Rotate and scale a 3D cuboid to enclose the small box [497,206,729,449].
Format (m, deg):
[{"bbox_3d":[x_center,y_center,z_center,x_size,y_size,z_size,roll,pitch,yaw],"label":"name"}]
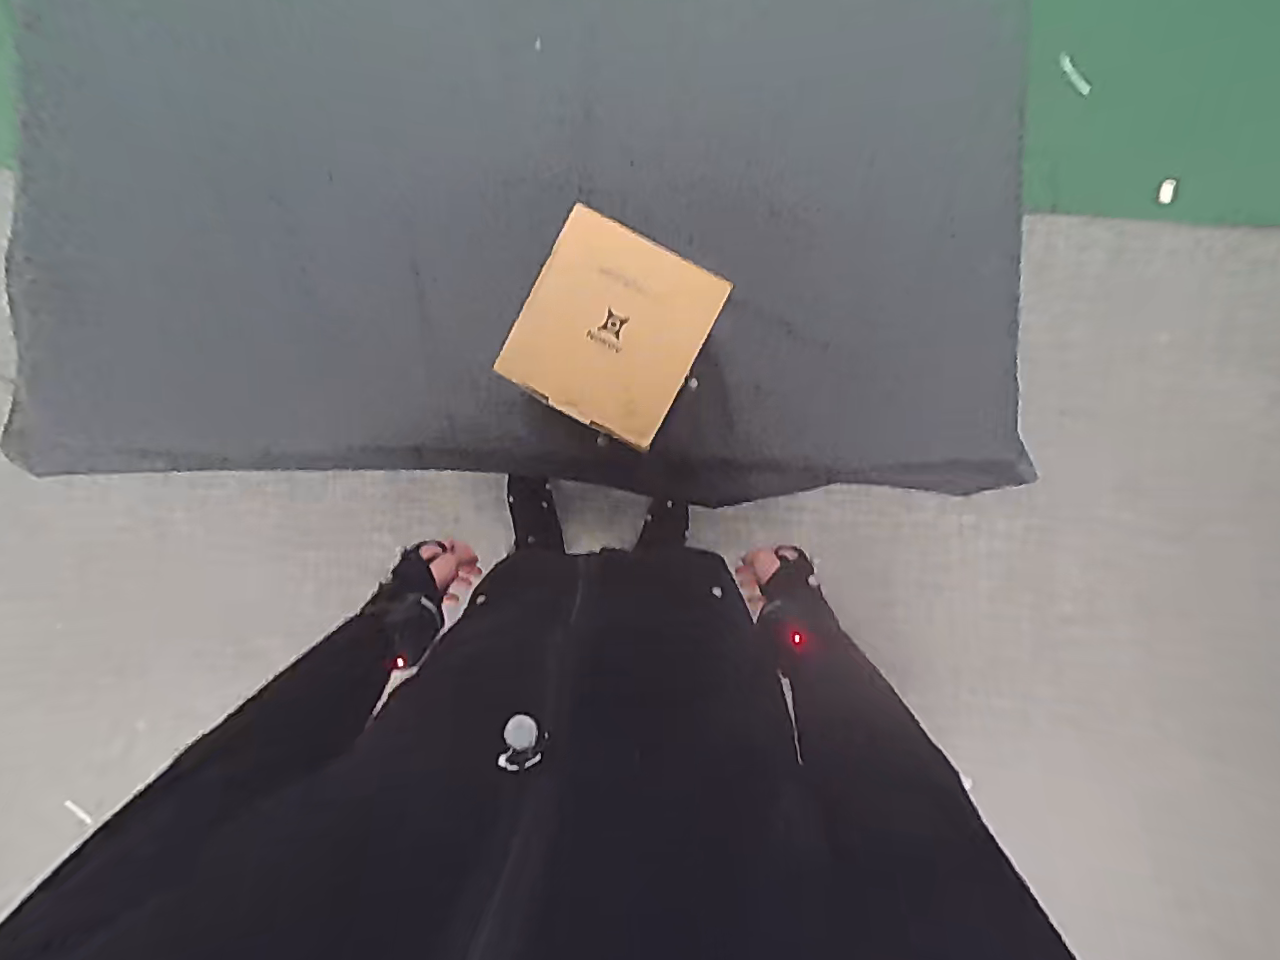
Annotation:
[{"bbox_3d":[-0.025,-0.144,0.581,0.168,0.176,0.179,26,91,-2],"label":"small box"}]
